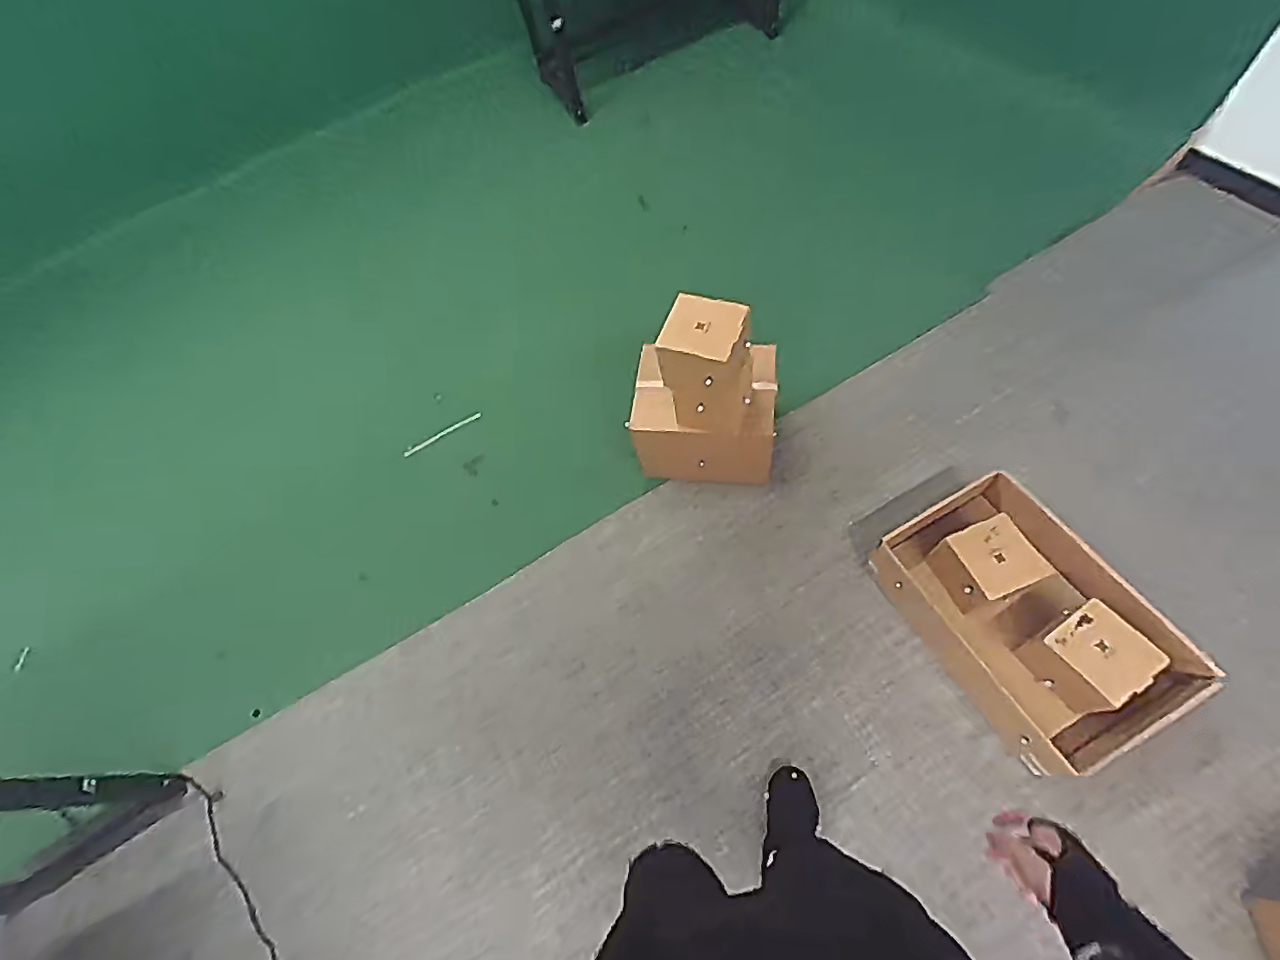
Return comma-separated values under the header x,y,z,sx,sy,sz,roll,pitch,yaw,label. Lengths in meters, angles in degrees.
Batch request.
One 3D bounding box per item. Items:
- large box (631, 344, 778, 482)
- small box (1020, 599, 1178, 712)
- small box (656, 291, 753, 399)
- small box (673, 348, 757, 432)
x,y,z,sx,sy,sz,roll,pitch,yaw,label
0.215,-0.197,1.674,0.408,0.320,0.320,3,63,13,large box
1.022,0.402,1.223,0.168,0.176,0.179,-34,62,-6,small box
0.159,-0.315,1.282,0.179,0.176,0.168,18,69,19,small box
0.203,-0.243,1.423,0.179,0.176,0.168,14,69,17,small box
